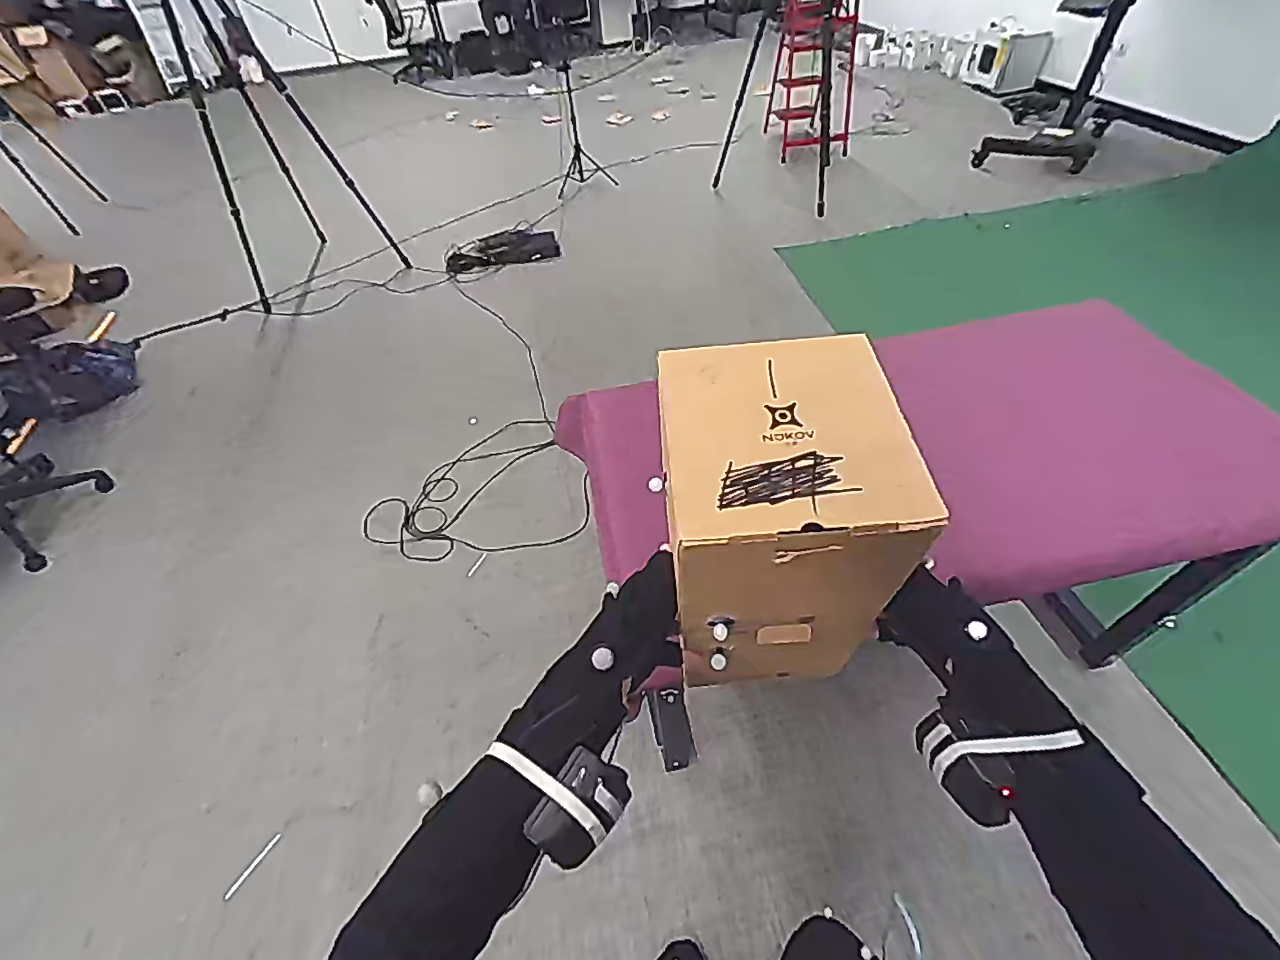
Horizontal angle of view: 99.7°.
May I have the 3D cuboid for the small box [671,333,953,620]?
[{"bbox_3d":[0.110,0.006,0.435,0.168,0.176,0.179,-1,56,2],"label":"small box"}]
